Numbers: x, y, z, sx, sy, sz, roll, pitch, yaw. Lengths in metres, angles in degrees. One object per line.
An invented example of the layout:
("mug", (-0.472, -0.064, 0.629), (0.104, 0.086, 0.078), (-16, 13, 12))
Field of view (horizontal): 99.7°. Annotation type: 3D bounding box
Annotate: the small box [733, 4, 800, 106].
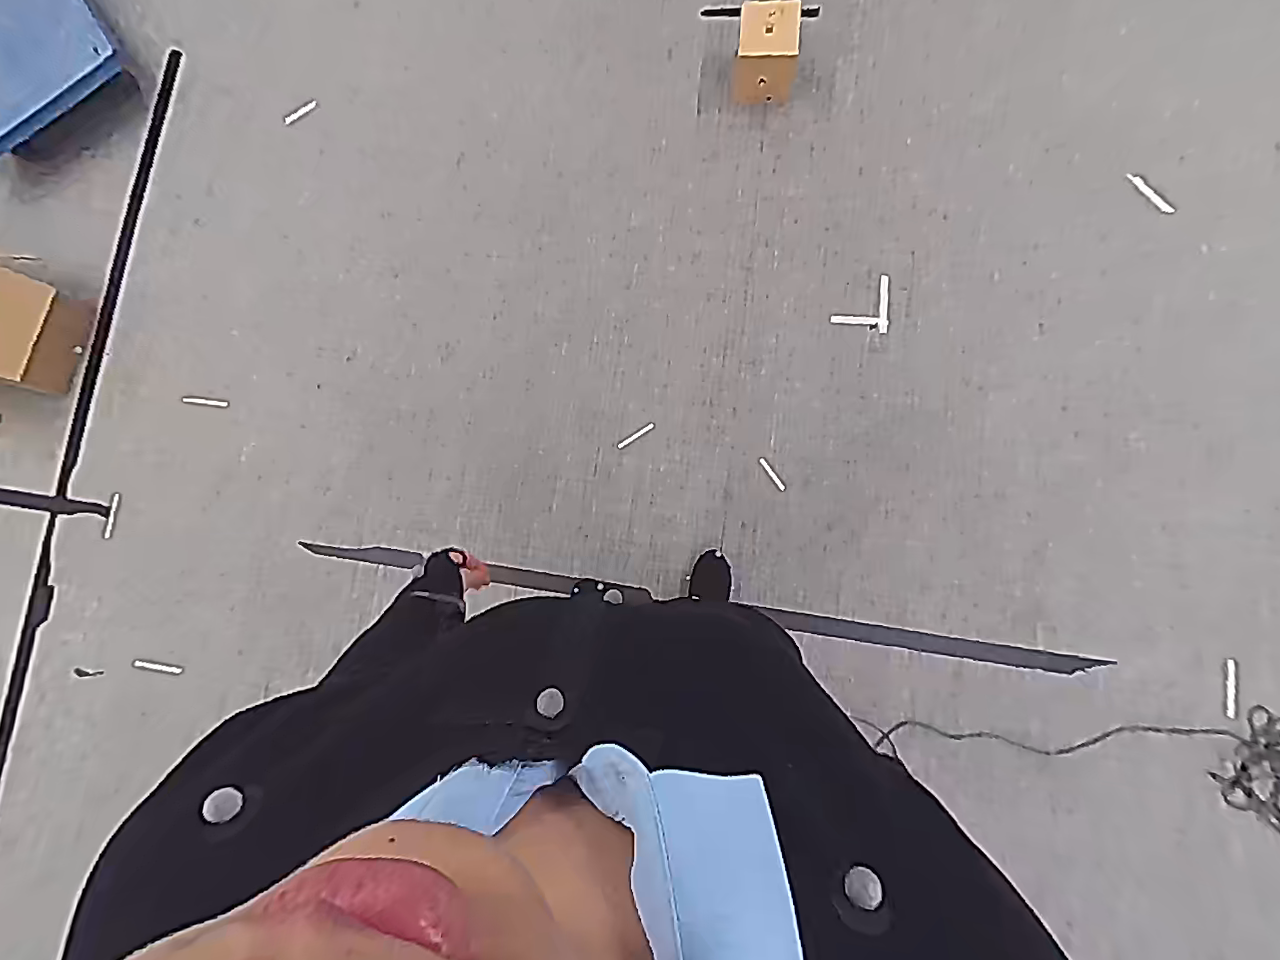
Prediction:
("small box", (0.367, -1.239, 1.586), (0.168, 0.176, 0.179), (5, 82, 5))
